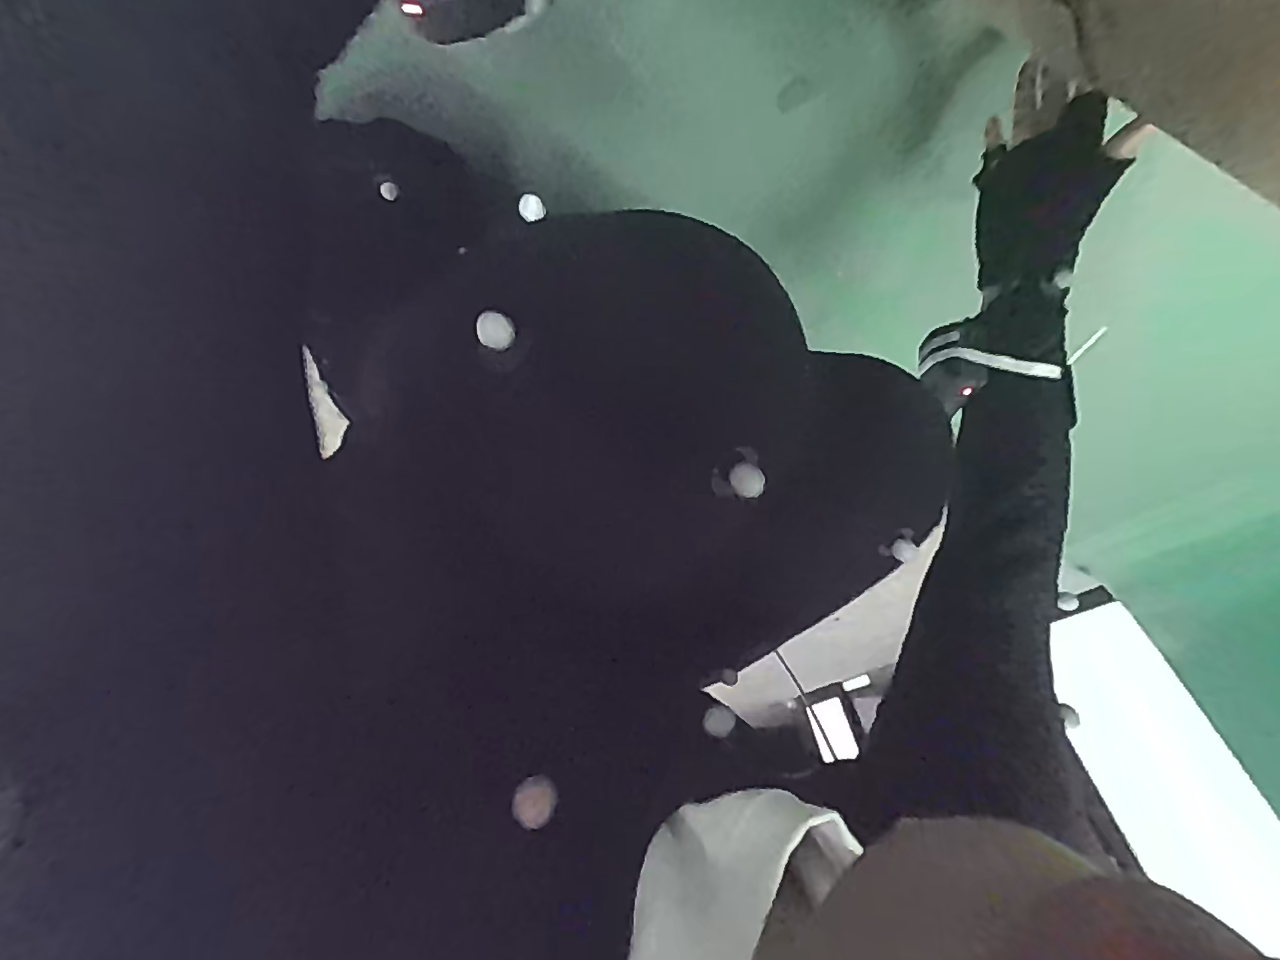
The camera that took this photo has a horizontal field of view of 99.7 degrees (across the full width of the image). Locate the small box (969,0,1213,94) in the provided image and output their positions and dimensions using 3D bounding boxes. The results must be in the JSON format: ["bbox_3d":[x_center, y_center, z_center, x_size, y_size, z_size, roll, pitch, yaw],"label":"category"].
[{"bbox_3d":[0.255,-0.361,0.270,0.168,0.176,0.179,19,137,-41],"label":"small box"}]
